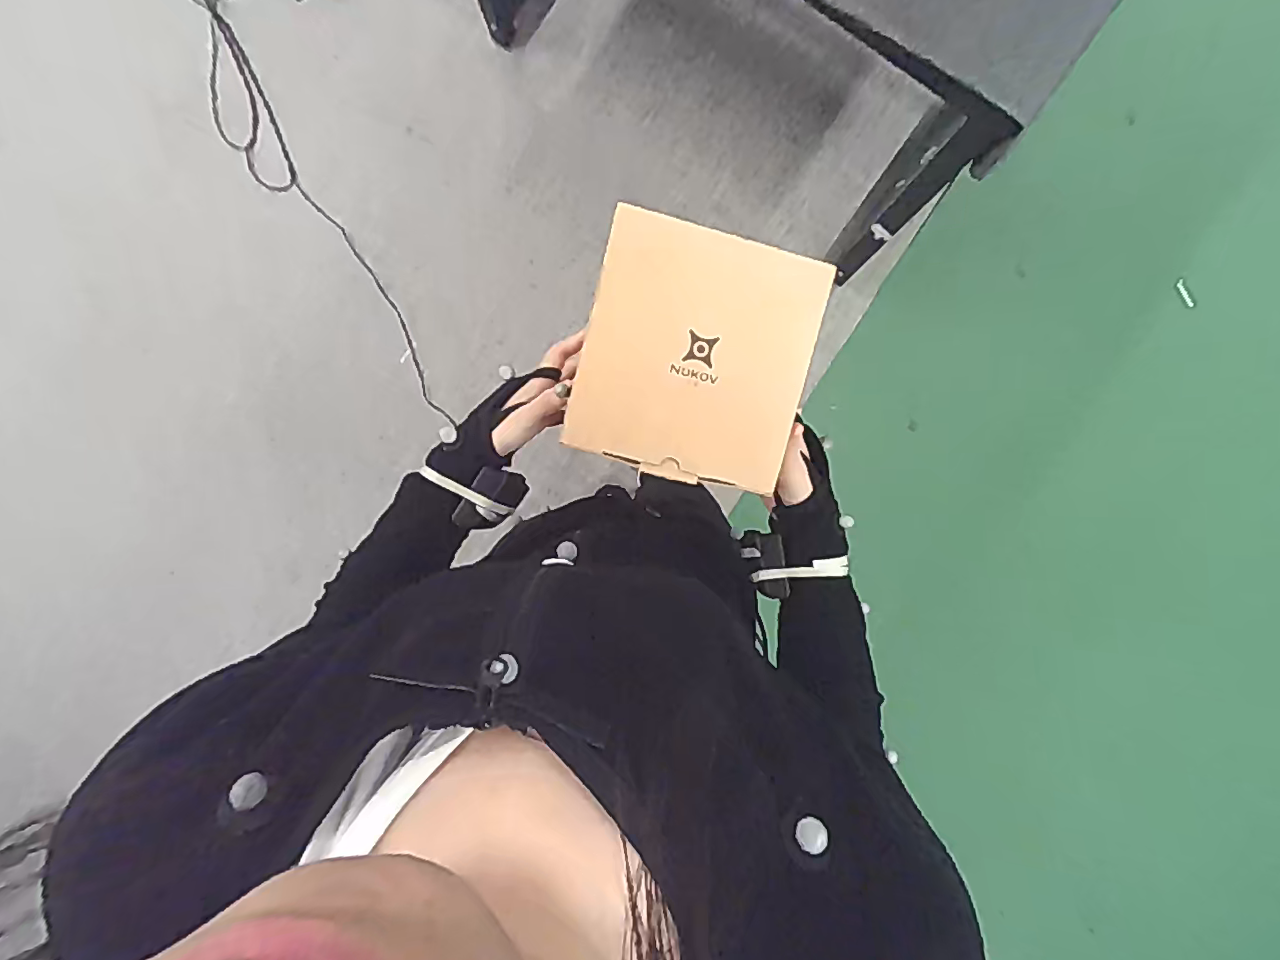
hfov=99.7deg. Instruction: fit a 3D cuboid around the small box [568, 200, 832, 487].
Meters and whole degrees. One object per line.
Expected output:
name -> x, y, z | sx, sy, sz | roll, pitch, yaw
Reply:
small box -> 0.037, -0.107, 0.477 | 0.168, 0.176, 0.179 | 13, 97, -6
